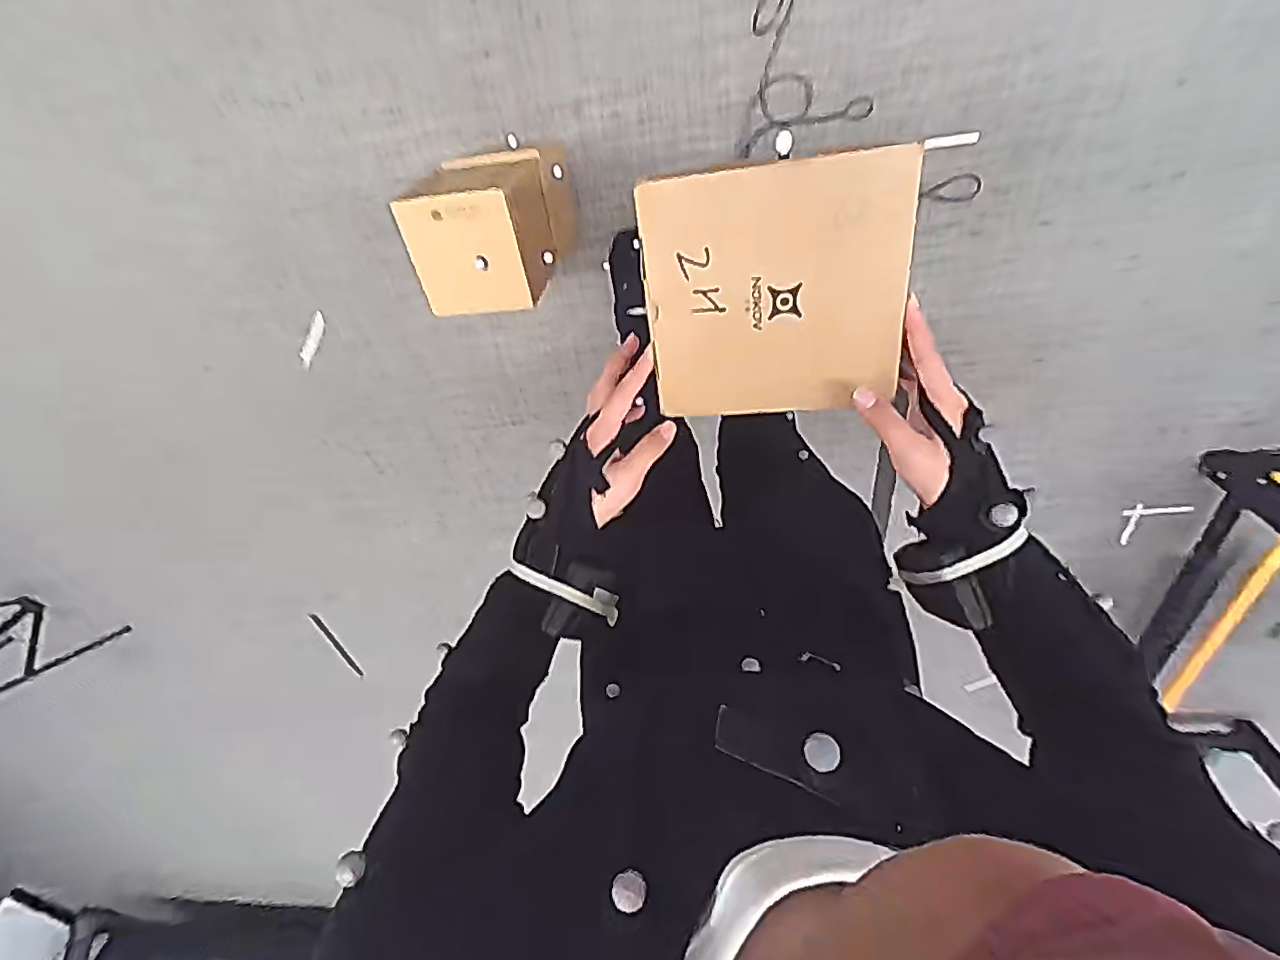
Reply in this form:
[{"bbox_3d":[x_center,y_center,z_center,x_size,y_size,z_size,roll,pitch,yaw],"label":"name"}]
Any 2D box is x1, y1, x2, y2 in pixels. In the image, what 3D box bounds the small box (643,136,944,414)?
[{"bbox_3d":[0.107,-0.164,0.424,0.179,0.176,0.168,-2,120,12],"label":"small box"}]
